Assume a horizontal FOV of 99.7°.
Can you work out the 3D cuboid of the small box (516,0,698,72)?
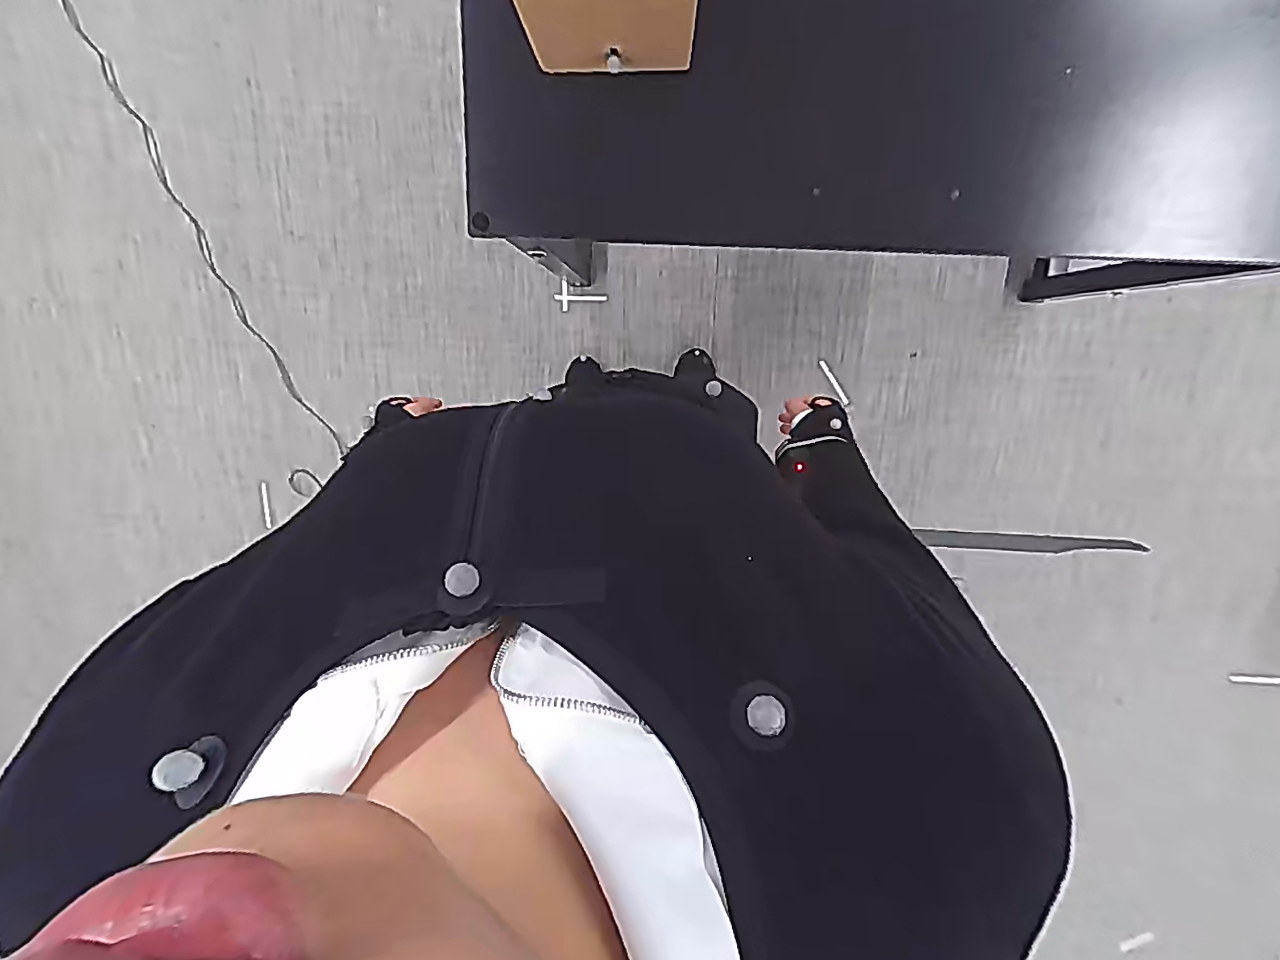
[{"bbox_3d":[-0.031,-0.543,0.542,0.179,0.176,0.168,0,103,1],"label":"small box"}]
